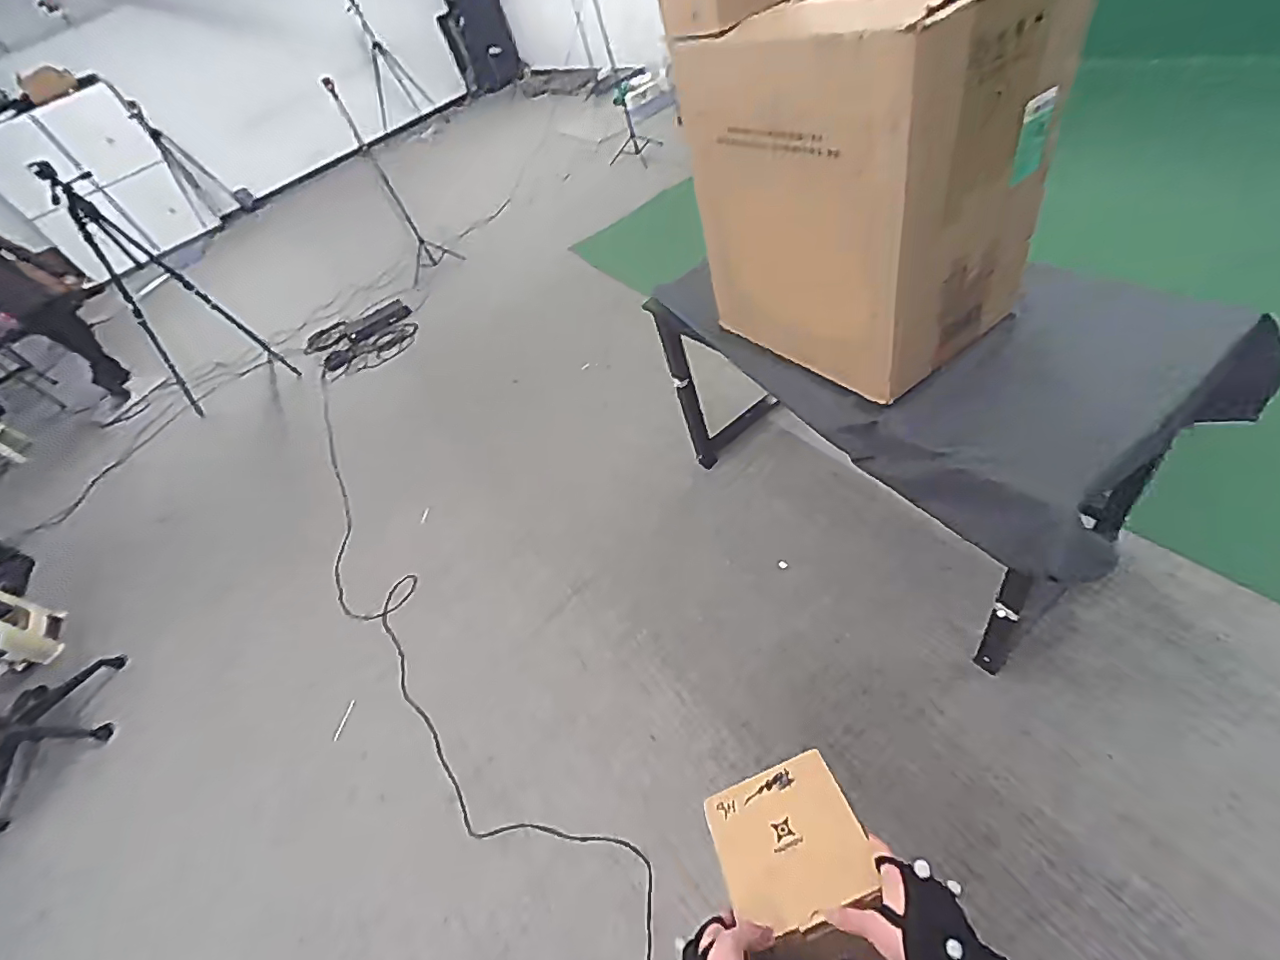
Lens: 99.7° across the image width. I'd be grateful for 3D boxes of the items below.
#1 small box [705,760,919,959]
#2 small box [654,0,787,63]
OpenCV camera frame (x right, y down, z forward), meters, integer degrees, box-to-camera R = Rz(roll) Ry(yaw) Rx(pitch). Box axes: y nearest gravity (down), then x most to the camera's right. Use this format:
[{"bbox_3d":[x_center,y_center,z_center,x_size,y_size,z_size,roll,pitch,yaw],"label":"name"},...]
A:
[{"bbox_3d":[0.201,0.490,0.648,0.168,0.176,0.179,-26,21,2],"label":"small box"},{"bbox_3d":[0.136,-0.856,0.944,0.179,0.176,0.168,-35,45,-12],"label":"small box"}]
